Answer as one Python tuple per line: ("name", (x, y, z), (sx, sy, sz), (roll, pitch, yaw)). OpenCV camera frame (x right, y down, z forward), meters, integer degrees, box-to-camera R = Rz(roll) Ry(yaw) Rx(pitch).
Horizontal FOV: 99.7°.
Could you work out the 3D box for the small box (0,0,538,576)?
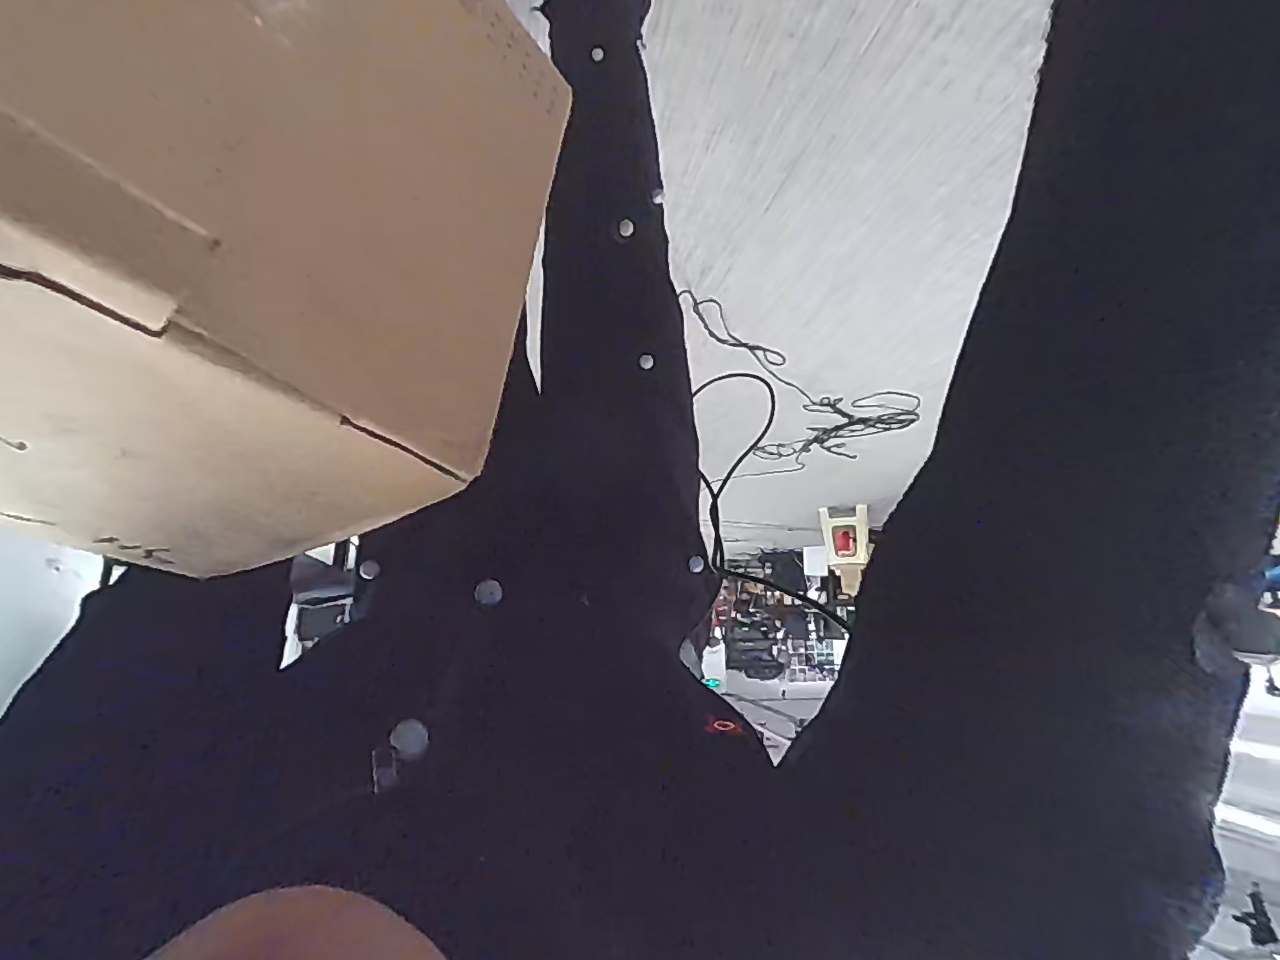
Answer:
("small box", (-0.145, -0.087, 0.151), (0.179, 0.176, 0.168), (-17, 146, 33))
